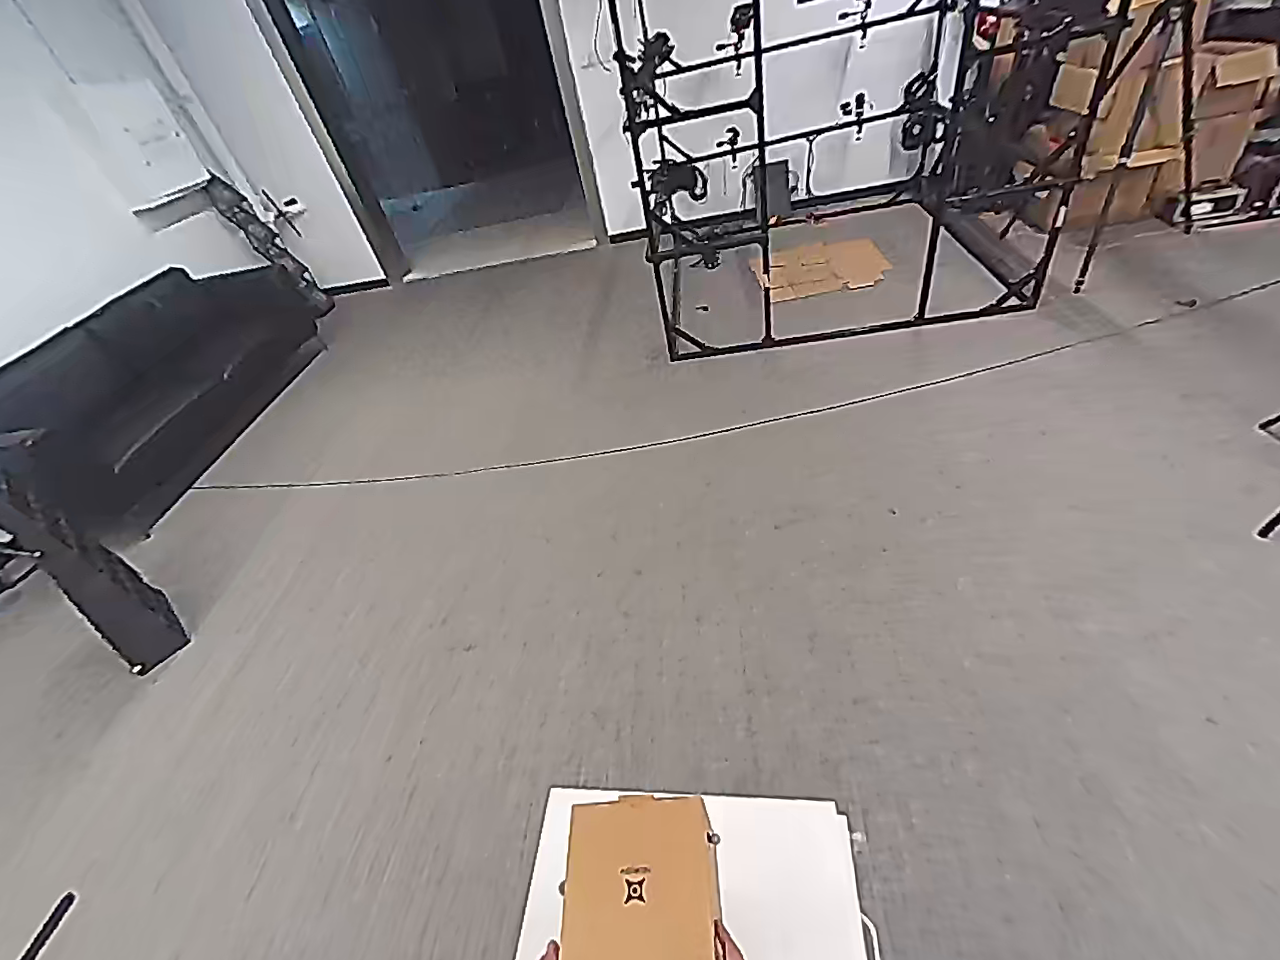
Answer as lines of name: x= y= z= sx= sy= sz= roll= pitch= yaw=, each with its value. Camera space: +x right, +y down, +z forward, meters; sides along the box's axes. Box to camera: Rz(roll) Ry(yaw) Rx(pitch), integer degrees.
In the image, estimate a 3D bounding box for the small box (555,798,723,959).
small box: x=0.007 y=0.512 z=0.651 sx=0.168 sy=0.176 sz=0.179 roll=-8 pitch=40 yaw=7
